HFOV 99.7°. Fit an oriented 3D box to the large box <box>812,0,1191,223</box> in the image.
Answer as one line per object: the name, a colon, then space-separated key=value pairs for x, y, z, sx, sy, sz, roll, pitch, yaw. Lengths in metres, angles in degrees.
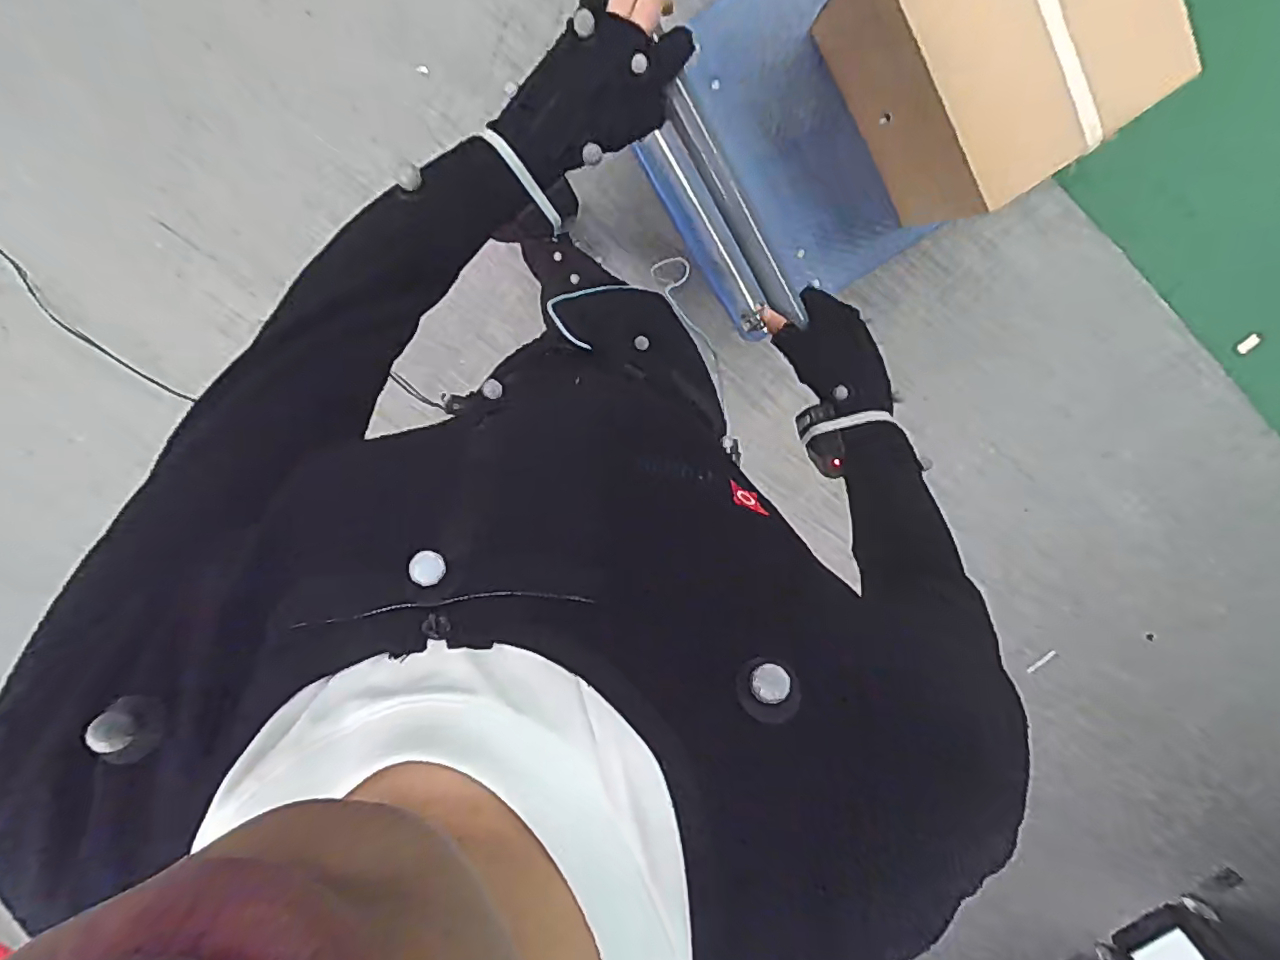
large box: x=0.547 y=-0.701 z=0.883 sx=0.320 sy=0.320 sz=0.408 roll=-34 pitch=107 yaw=12
